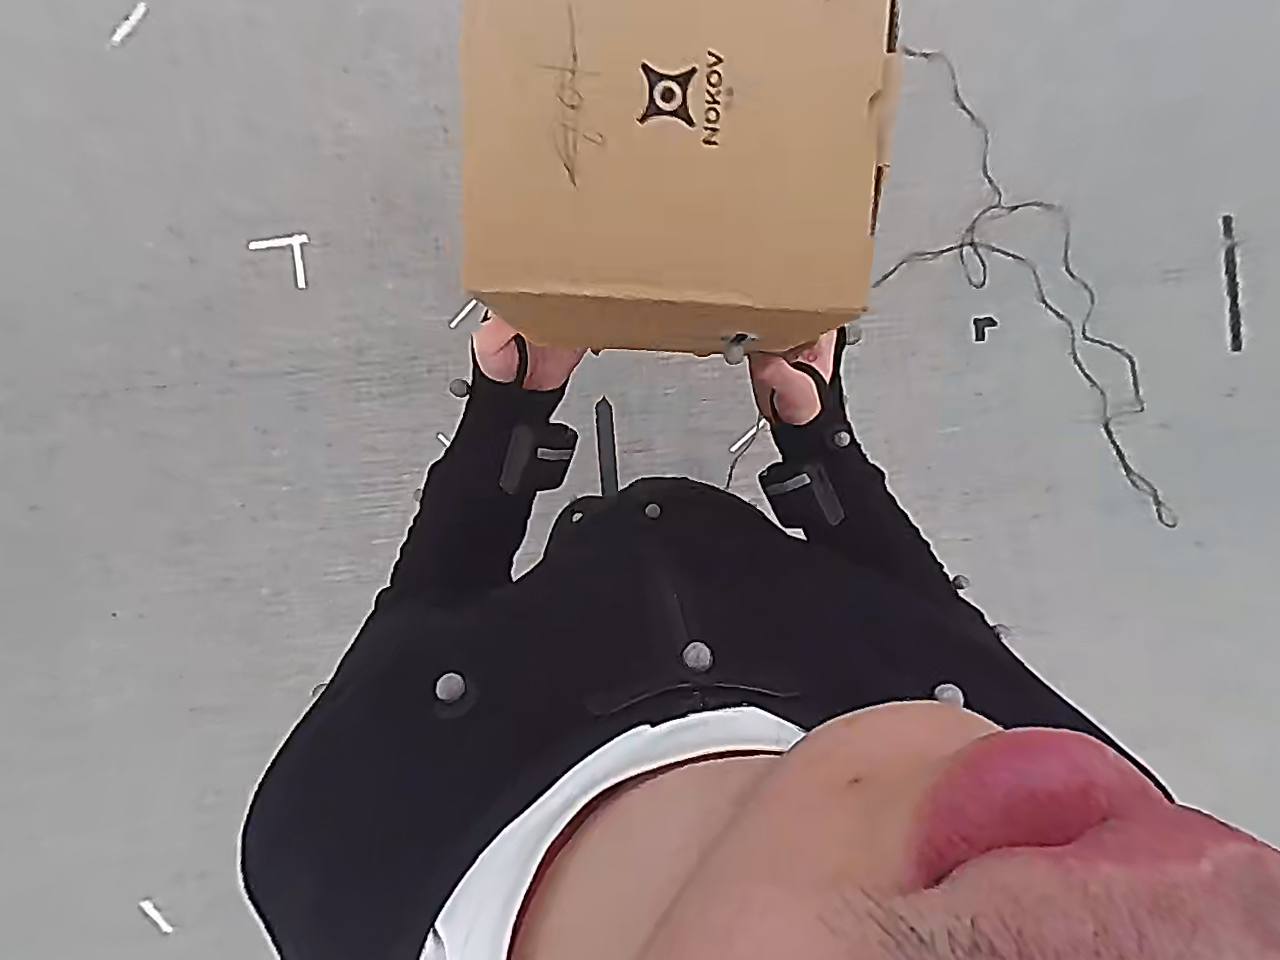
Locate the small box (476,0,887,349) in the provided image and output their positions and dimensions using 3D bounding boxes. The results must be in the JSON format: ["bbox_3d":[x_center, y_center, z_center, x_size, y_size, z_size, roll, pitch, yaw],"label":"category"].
[{"bbox_3d":[0.014,-0.171,0.311,0.179,0.176,0.168,2,97,-2],"label":"small box"}]
